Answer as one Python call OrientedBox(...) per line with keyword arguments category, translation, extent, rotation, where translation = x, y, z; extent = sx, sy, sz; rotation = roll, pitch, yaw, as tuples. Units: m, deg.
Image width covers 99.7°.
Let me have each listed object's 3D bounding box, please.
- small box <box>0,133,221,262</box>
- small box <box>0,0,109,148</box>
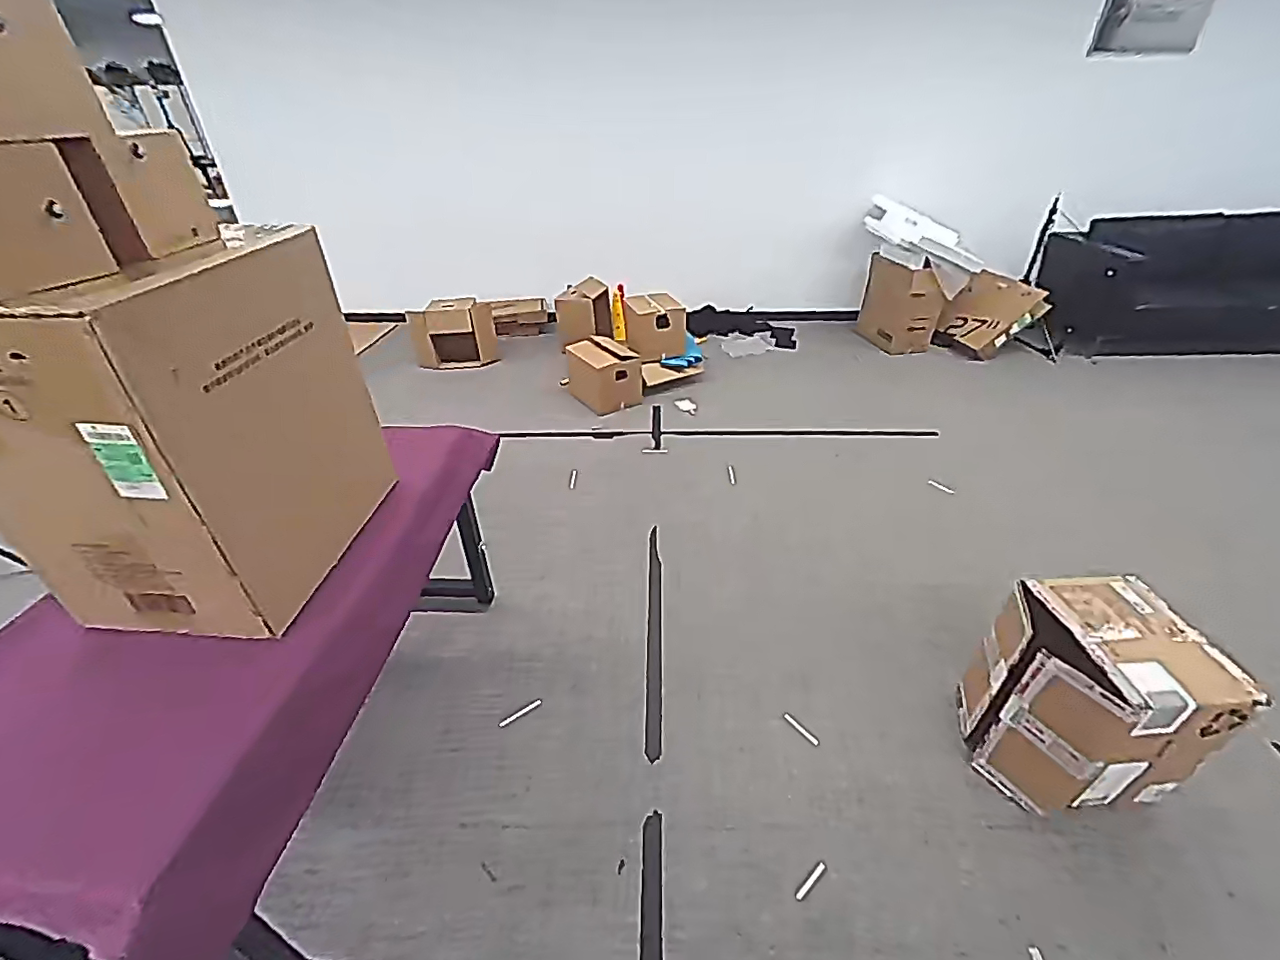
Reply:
OrientedBox(category="small box", translation=(-0.853, -0.461, 0.885), extent=(0.179, 0.176, 0.168), rotation=(1, 36, 4))
OrientedBox(category="small box", translation=(-0.864, -0.529, 0.695), extent=(0.168, 0.176, 0.179), rotation=(0, 34, 1))
